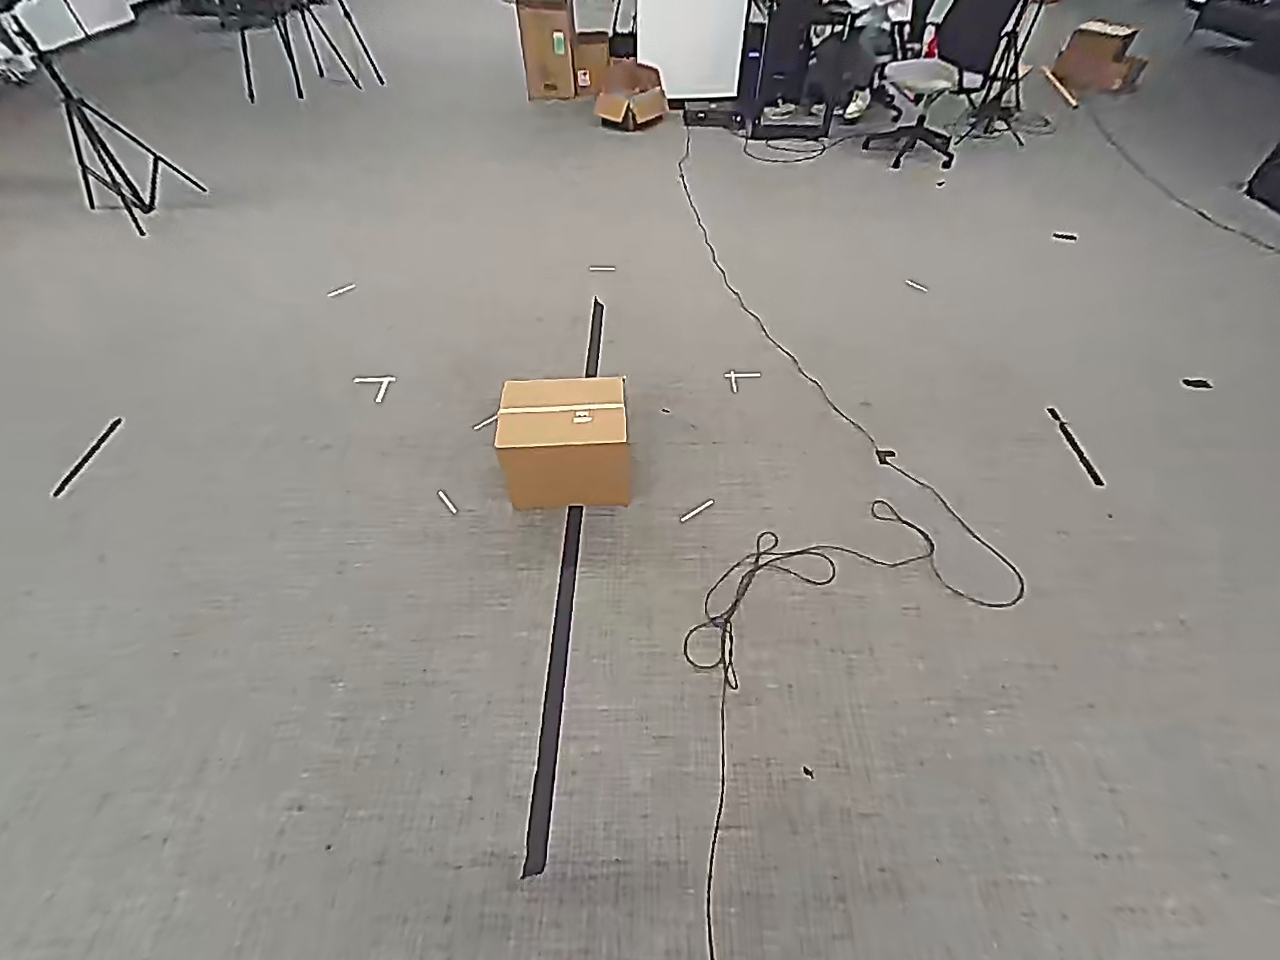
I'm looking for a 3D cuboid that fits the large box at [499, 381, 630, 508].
[{"bbox_3d":[-0.244,-0.120,1.853,0.408,0.320,0.320,-2,50,-2],"label":"large box"}]
